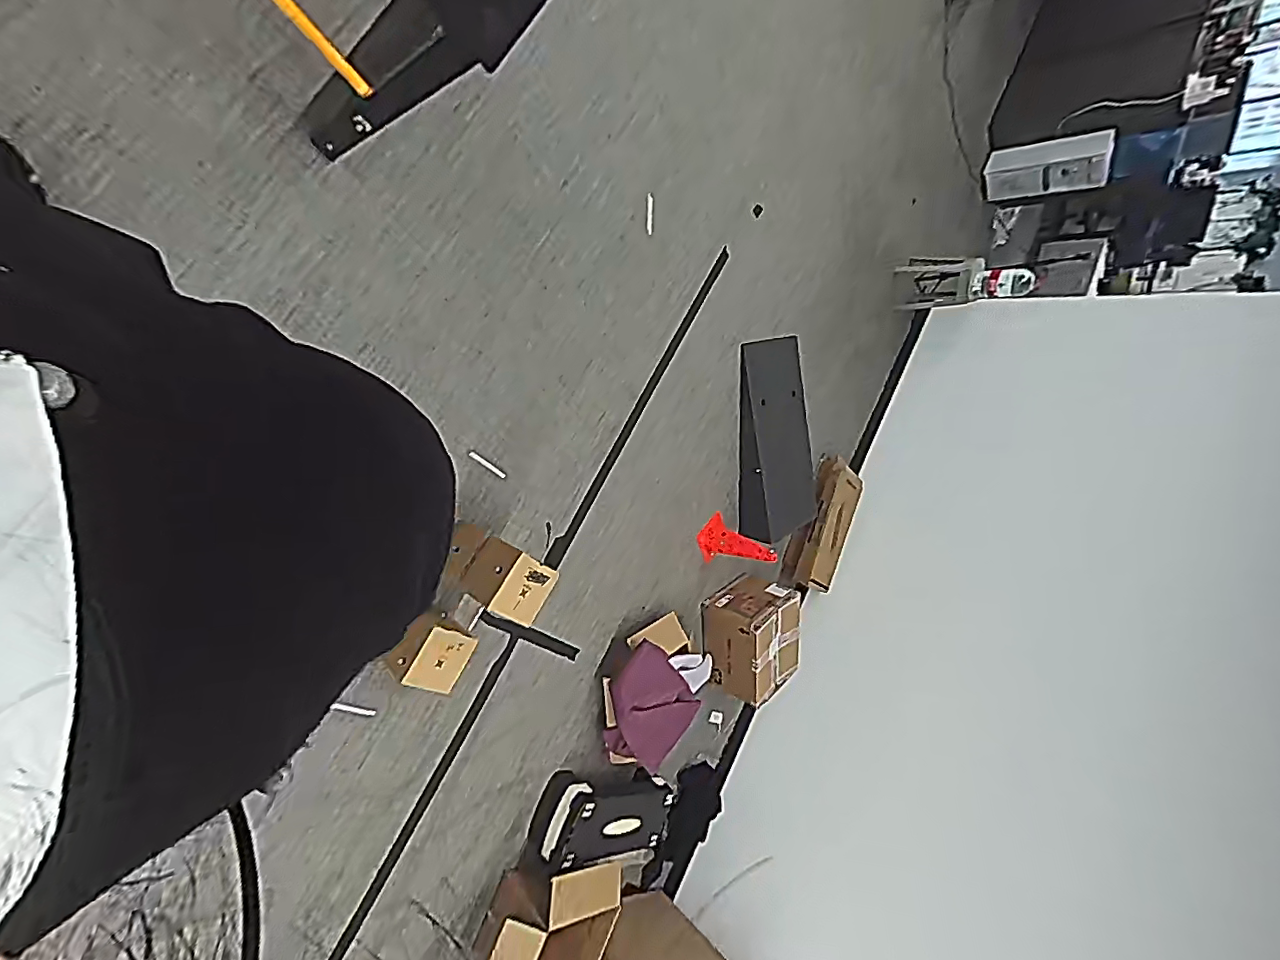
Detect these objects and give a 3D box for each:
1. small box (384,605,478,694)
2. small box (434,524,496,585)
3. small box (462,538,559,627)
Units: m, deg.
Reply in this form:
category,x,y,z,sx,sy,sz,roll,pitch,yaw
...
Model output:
category,x,y,z,sx,sy,sz,roll,pitch,yaw
small box,-0.621,0.497,1.590,0.168,0.176,0.179,40,73,-45
small box,-0.492,0.248,1.649,0.179,0.176,0.168,44,70,-43
small box,-0.372,0.286,1.541,0.168,0.176,0.179,44,70,-44
